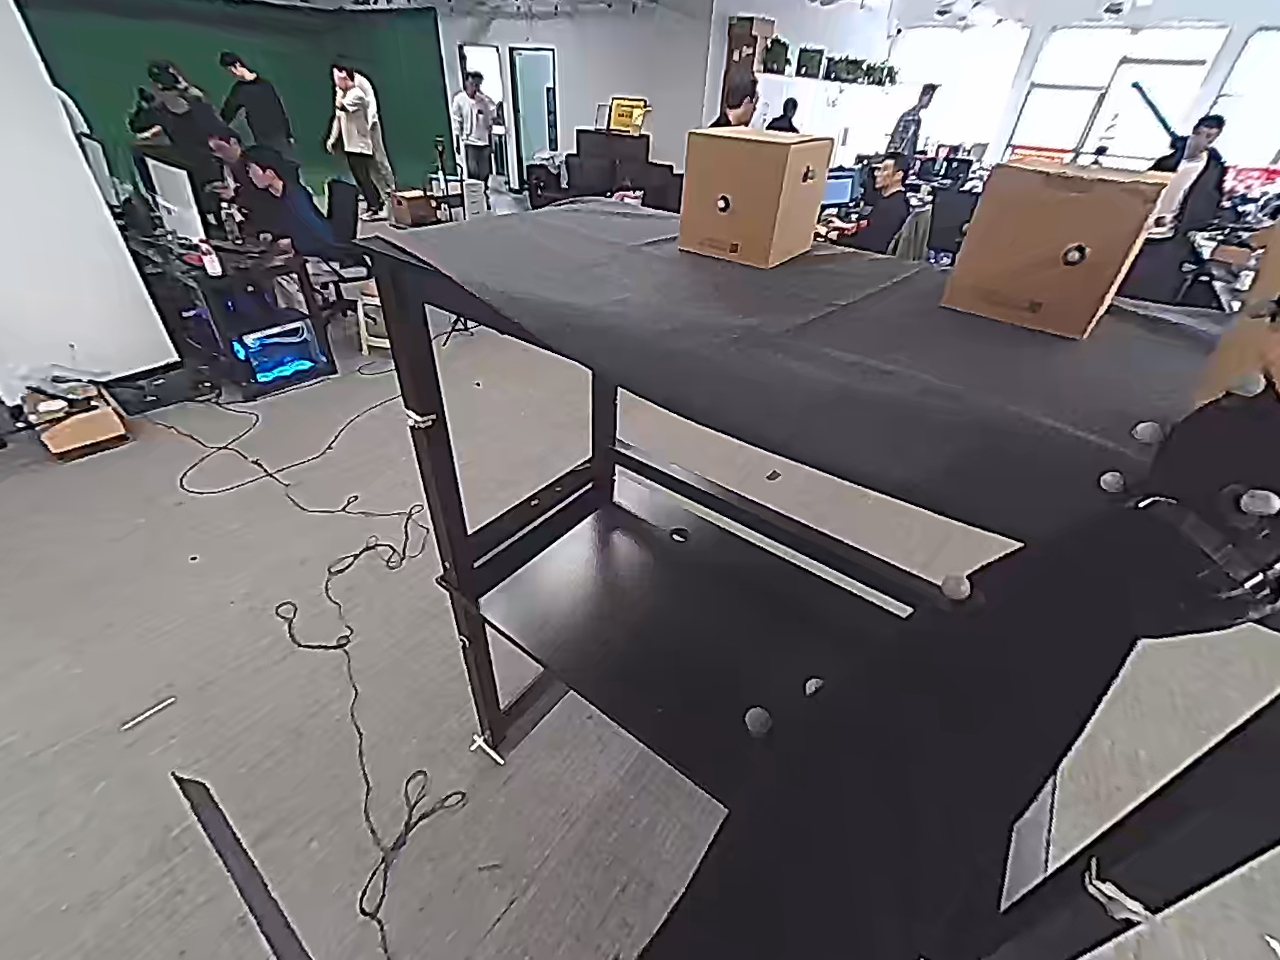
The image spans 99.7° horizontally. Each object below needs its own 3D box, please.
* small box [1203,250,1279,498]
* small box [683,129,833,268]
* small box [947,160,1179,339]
[{"bbox_3d":[0.507,-0.080,0.336,0.168,0.176,0.179,15,37,29],"label":"small box"},{"bbox_3d":[0.180,-0.448,0.859,0.168,0.176,0.179,26,42,27],"label":"small box"},{"bbox_3d":[0.516,-0.291,0.677,0.168,0.176,0.179,31,44,31],"label":"small box"}]
